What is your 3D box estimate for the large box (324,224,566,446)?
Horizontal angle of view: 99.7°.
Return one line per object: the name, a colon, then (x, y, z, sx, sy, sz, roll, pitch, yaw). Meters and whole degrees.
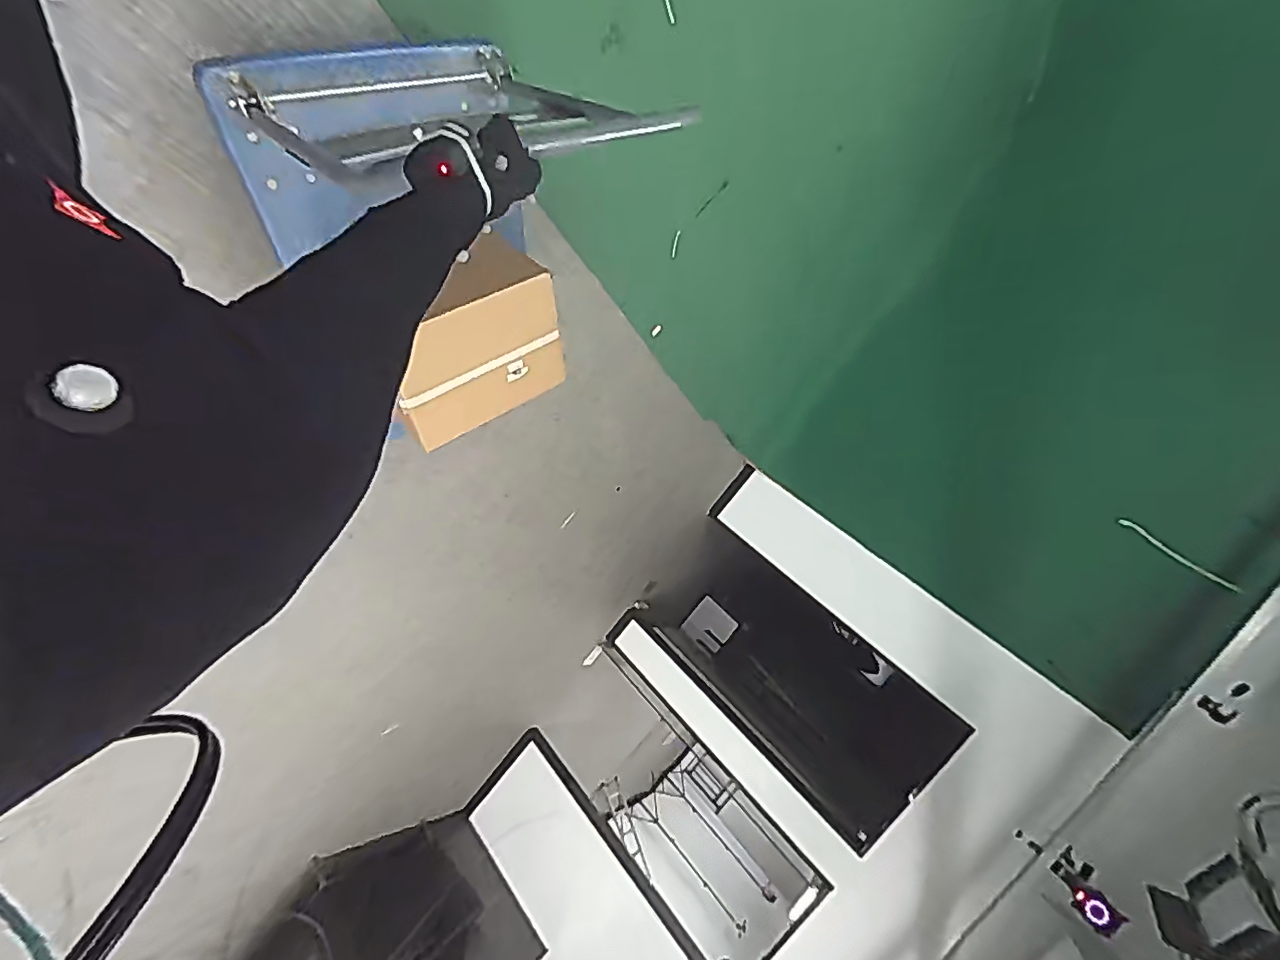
large box: (-0.444, -0.359, 1.298, 0.408, 0.320, 0.320, -35, 149, -26)
